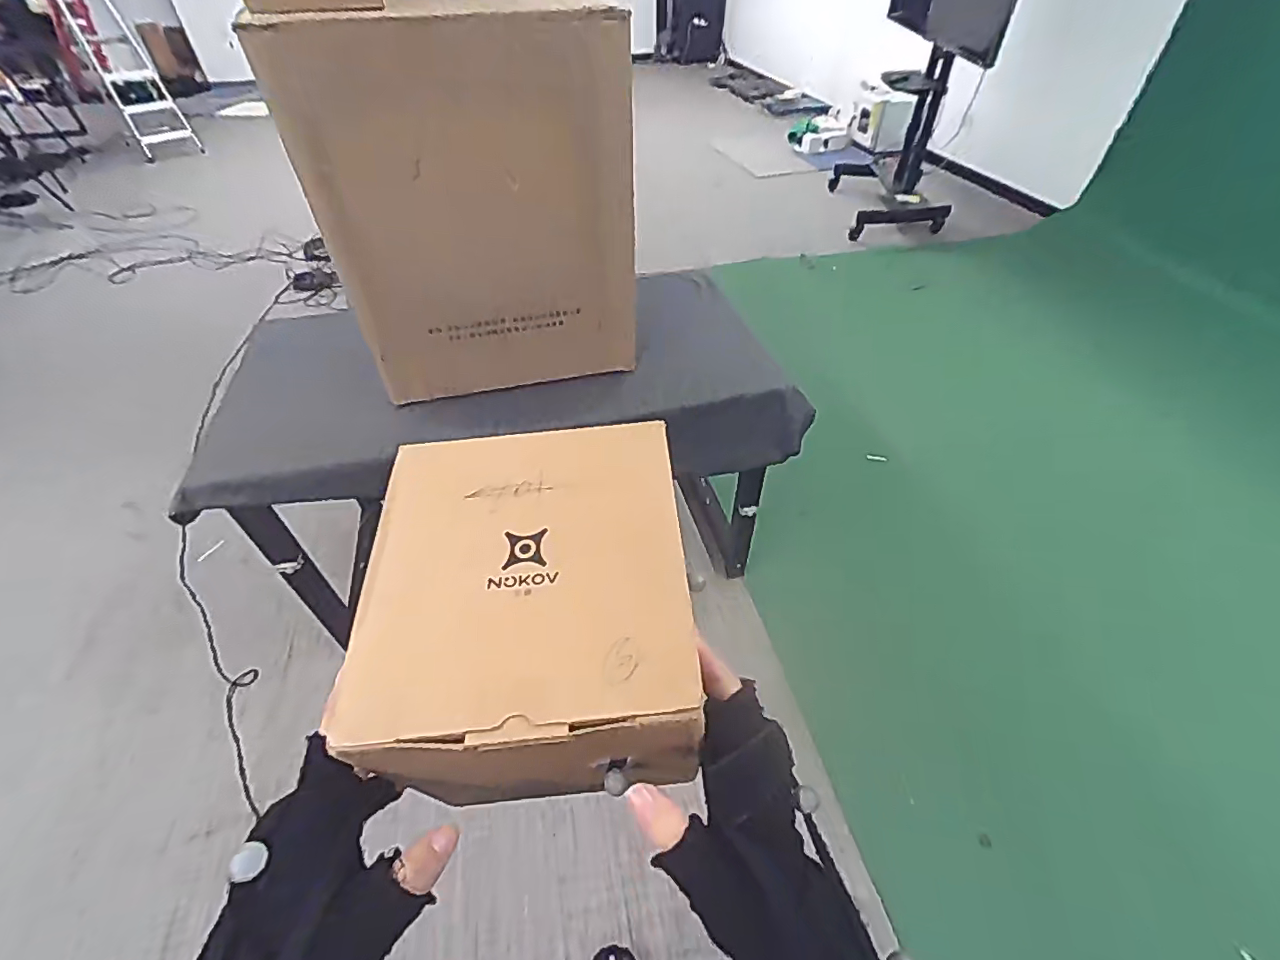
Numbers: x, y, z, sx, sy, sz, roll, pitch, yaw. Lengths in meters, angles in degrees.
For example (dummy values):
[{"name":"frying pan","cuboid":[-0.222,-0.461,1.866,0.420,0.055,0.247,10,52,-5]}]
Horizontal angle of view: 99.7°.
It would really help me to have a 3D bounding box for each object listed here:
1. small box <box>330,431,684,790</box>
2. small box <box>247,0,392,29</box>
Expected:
[{"name":"small box","cuboid":[-0.061,0.092,0.355,0.168,0.176,0.179,-5,52,-1]},{"name":"small box","cuboid":[-0.443,-0.725,0.720,0.179,0.176,0.168,-12,49,-12]}]
